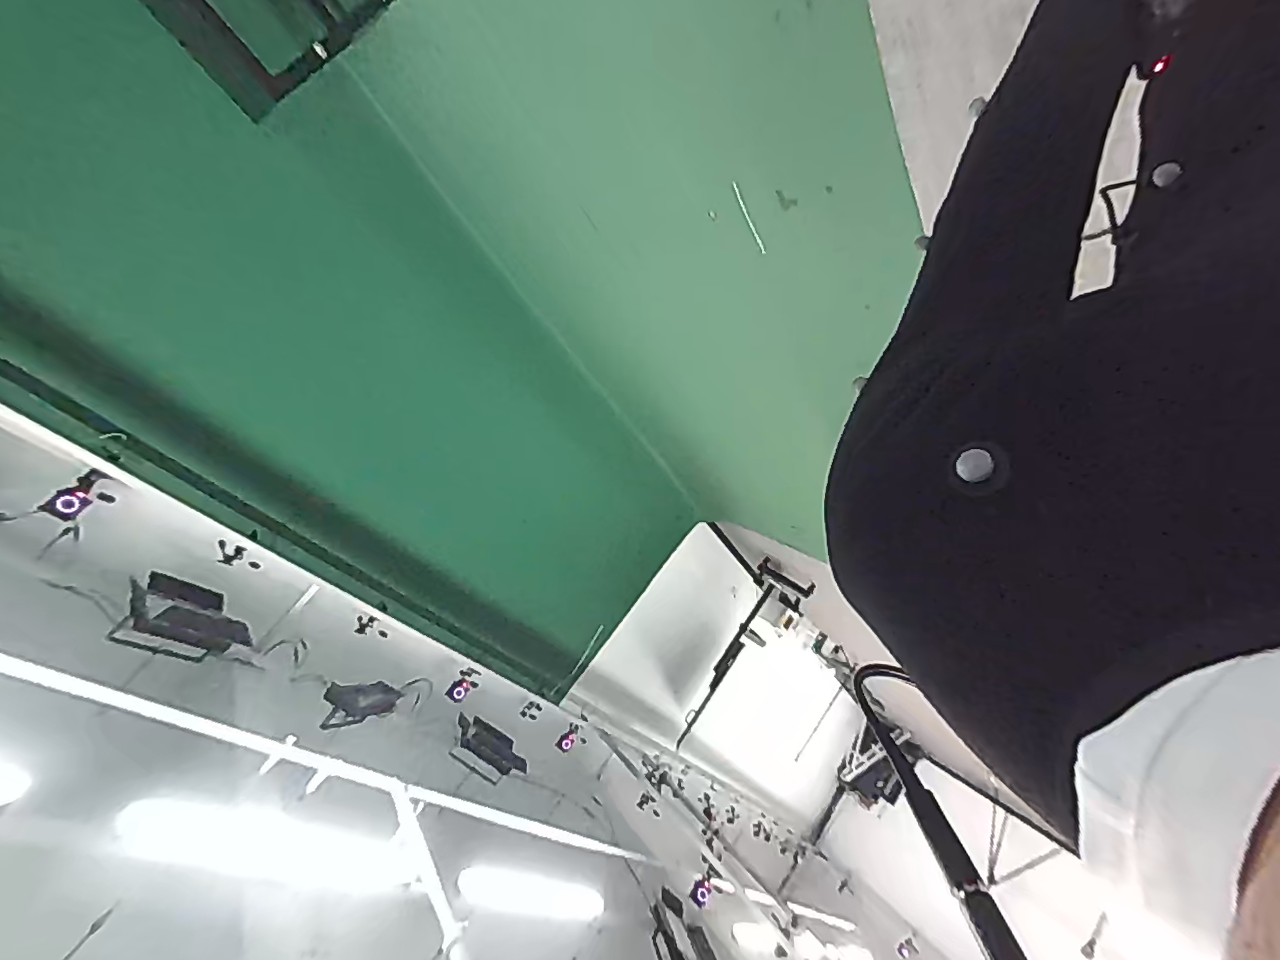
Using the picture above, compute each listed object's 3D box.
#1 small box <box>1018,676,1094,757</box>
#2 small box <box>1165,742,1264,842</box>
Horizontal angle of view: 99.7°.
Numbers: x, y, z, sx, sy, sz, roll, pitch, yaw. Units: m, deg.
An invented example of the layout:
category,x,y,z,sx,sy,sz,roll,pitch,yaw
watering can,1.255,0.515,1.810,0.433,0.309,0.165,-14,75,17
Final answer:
category,x,y,z,sx,sy,sz,roll,pitch,yaw
small box,1.462,0.825,1.895,0.168,0.176,0.179,21,158,50
small box,1.675,0.905,1.580,0.179,0.176,0.168,47,165,-33
